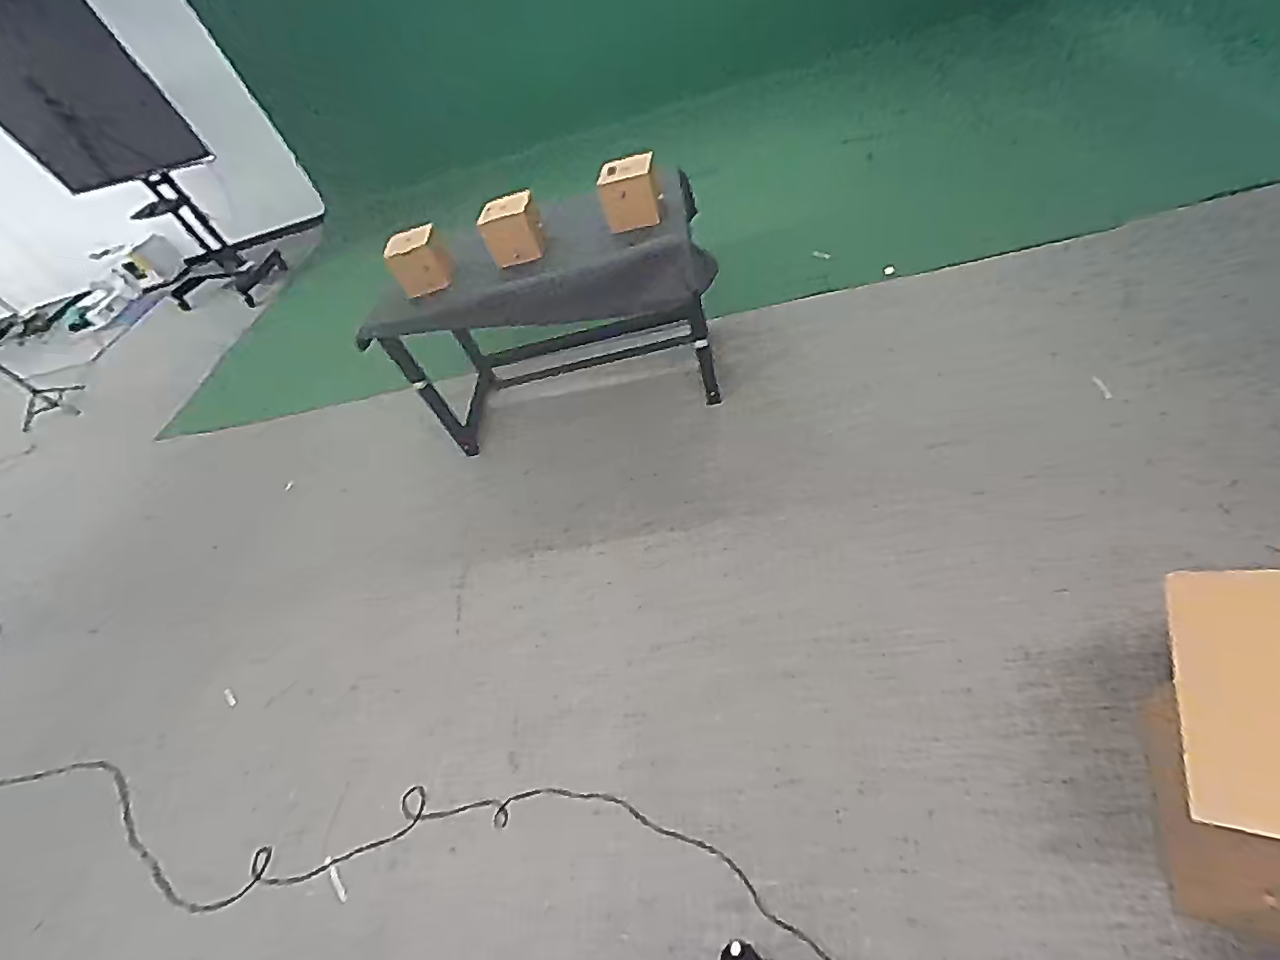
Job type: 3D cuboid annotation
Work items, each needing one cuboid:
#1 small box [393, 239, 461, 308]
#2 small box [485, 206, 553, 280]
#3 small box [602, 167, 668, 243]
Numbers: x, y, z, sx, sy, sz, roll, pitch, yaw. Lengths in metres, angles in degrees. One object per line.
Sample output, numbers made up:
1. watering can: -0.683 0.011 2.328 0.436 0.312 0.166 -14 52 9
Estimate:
1. small box: -0.781 -0.758 2.003 0.168 0.176 0.179 -16 45 5
2. small box: -0.427 -0.850 1.947 0.179 0.176 0.168 -8 48 13
3. small box: -0.014 -0.942 1.864 0.179 0.176 0.168 -6 49 16
